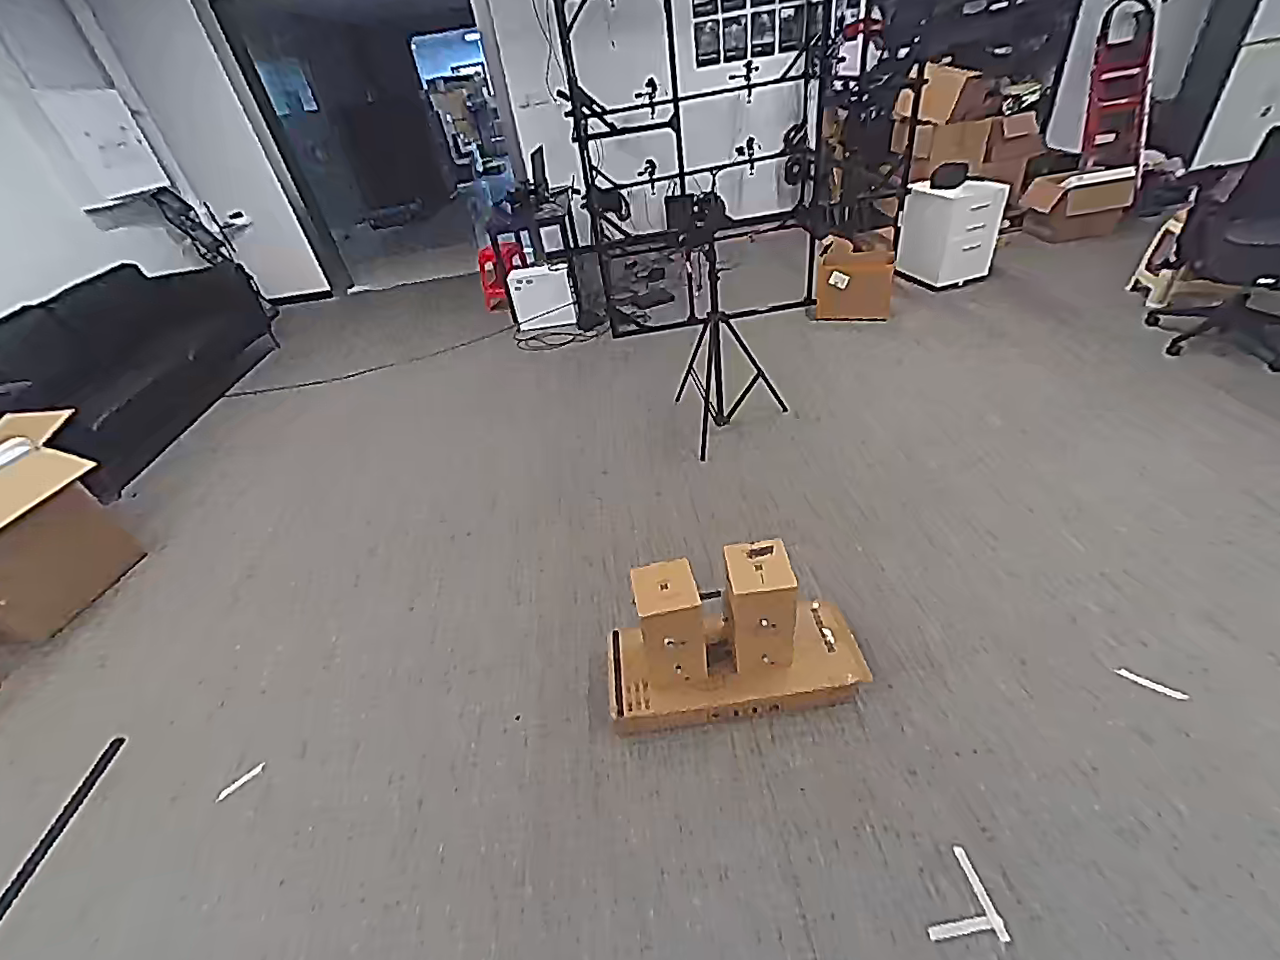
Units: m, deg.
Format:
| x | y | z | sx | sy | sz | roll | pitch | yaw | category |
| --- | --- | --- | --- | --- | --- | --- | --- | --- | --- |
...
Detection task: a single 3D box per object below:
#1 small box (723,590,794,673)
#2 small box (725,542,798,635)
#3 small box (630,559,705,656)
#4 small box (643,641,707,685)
| x | y | z | sx | sy | sz | roll | pitch | yaw | category |
| --- | --- | --- | --- | --- | --- | --- | --- | --- | --- |
| 0.341 | 0.430 | 1.577 | 0.168 | 0.176 | 0.179 | -10 | 36 | 0 | small box |
| 0.326 | 0.298 | 1.481 | 0.168 | 0.176 | 0.179 | -8 | 37 | 3 | small box |
| 0.075 | 0.347 | 1.472 | 0.168 | 0.176 | 0.179 | -13 | 37 | -3 | small box |
| 0.097 | 0.475 | 1.573 | 0.168 | 0.176 | 0.179 | -11 | 37 | -1 | small box |
